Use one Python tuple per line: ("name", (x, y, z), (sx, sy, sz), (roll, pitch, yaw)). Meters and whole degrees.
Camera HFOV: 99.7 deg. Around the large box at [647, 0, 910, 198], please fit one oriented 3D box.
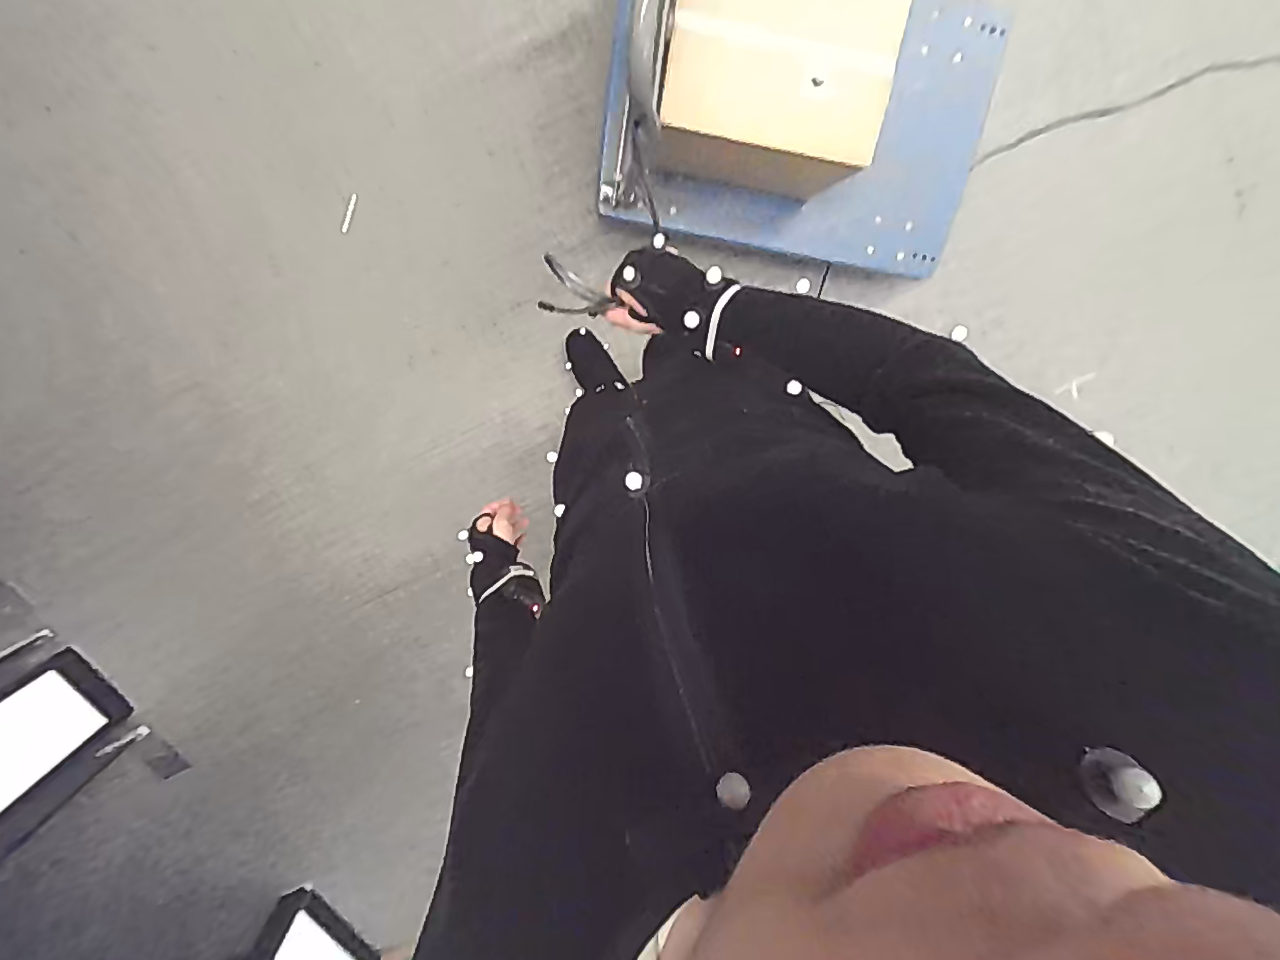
("large box", (0.240, -0.790, 1.075), (0.408, 0.320, 0.320), (8, 107, -7))
